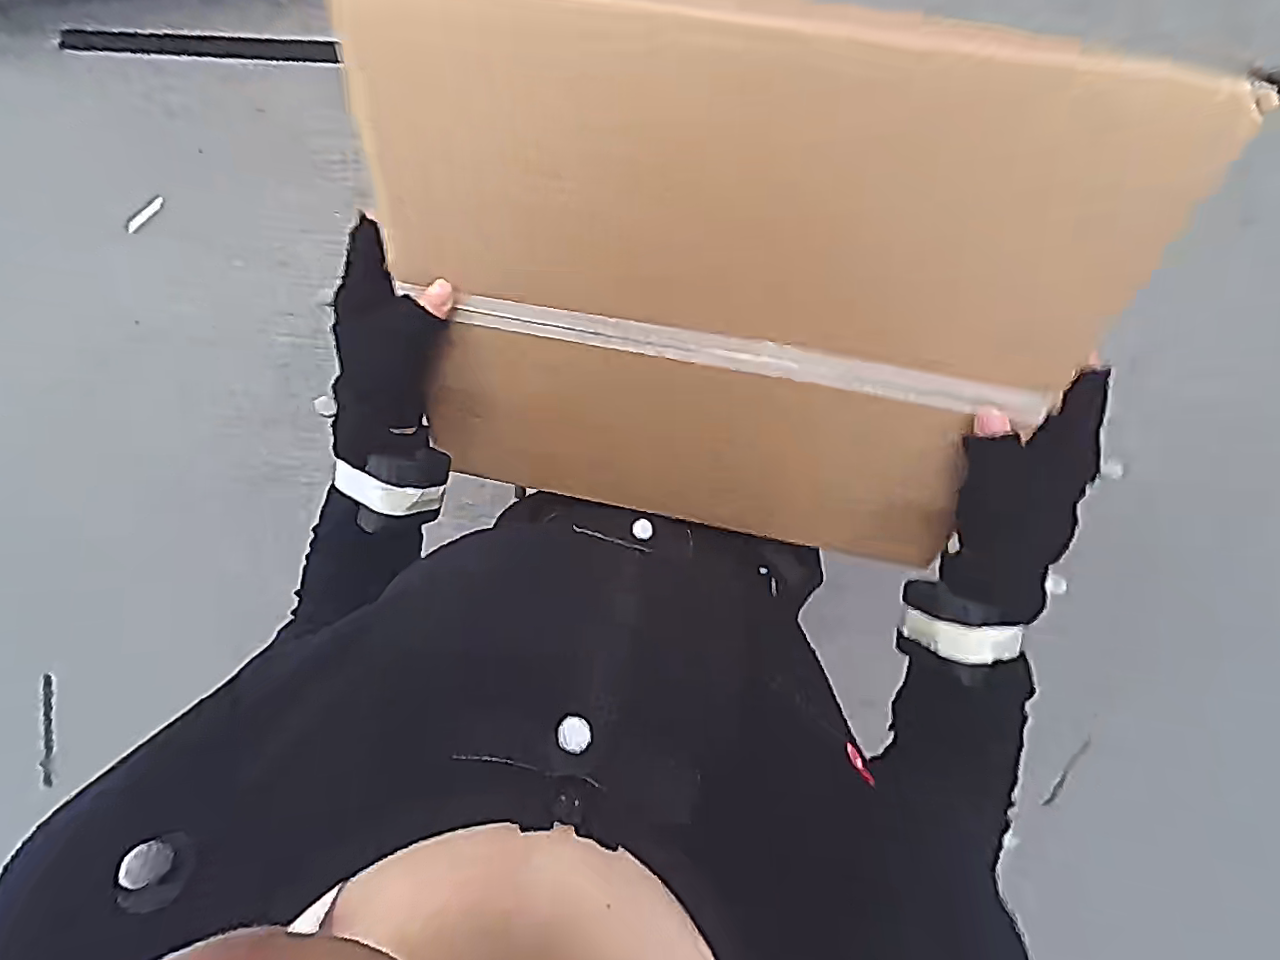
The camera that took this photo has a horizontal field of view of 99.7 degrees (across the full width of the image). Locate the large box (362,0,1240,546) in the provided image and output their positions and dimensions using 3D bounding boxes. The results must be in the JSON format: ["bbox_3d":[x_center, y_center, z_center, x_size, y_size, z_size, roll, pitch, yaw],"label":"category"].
[{"bbox_3d":[0.073,-0.192,0.451,0.408,0.320,0.320,12,135,4],"label":"large box"}]
